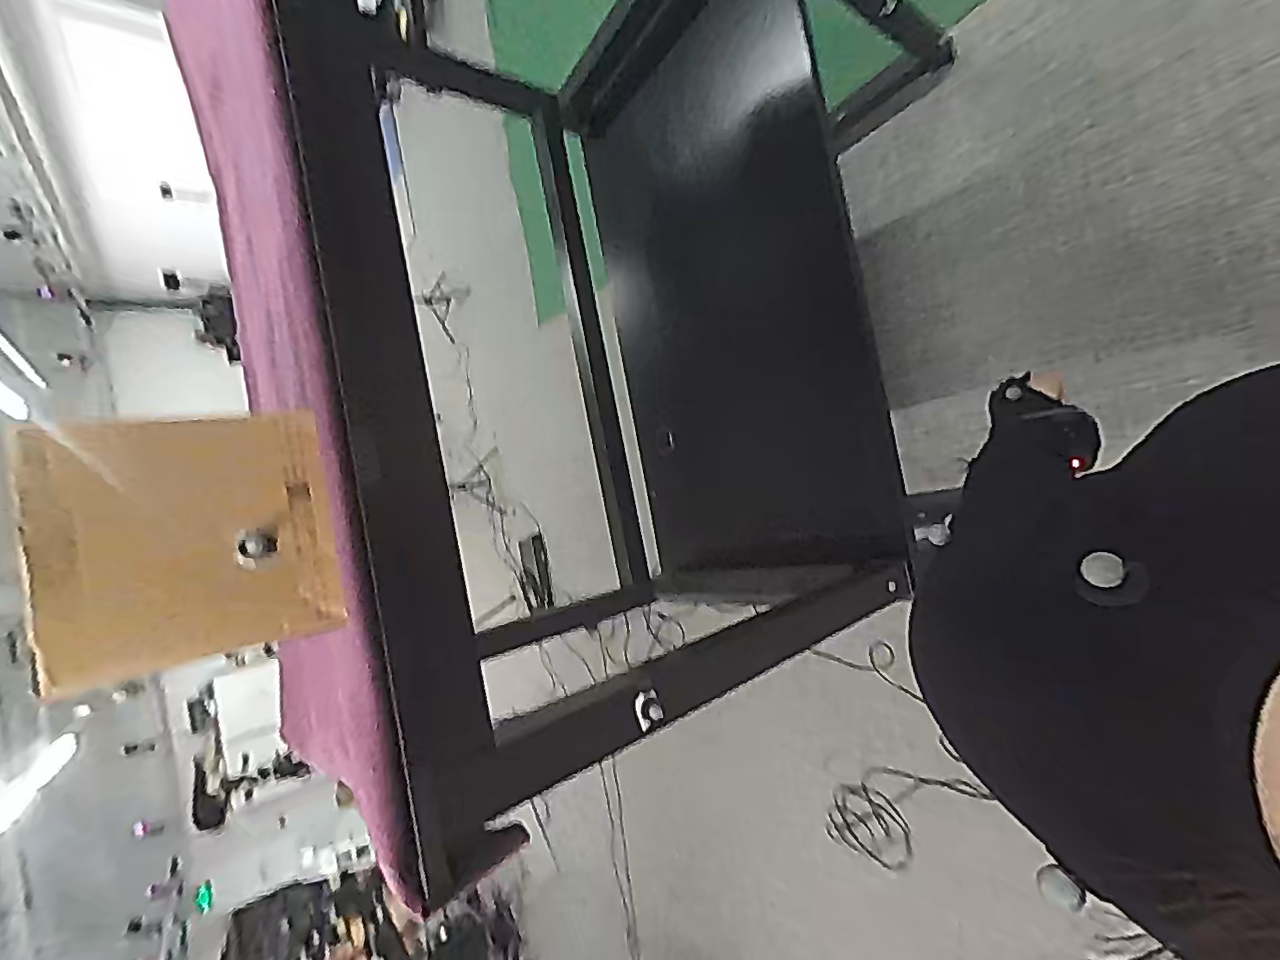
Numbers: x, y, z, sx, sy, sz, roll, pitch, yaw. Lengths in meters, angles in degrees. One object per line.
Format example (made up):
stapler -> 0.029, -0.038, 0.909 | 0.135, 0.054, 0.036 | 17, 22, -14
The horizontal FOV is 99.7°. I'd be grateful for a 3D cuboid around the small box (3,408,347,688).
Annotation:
small box -> -0.341, 0.046, 0.427 | 0.179, 0.176, 0.168 | -20, 81, 52
